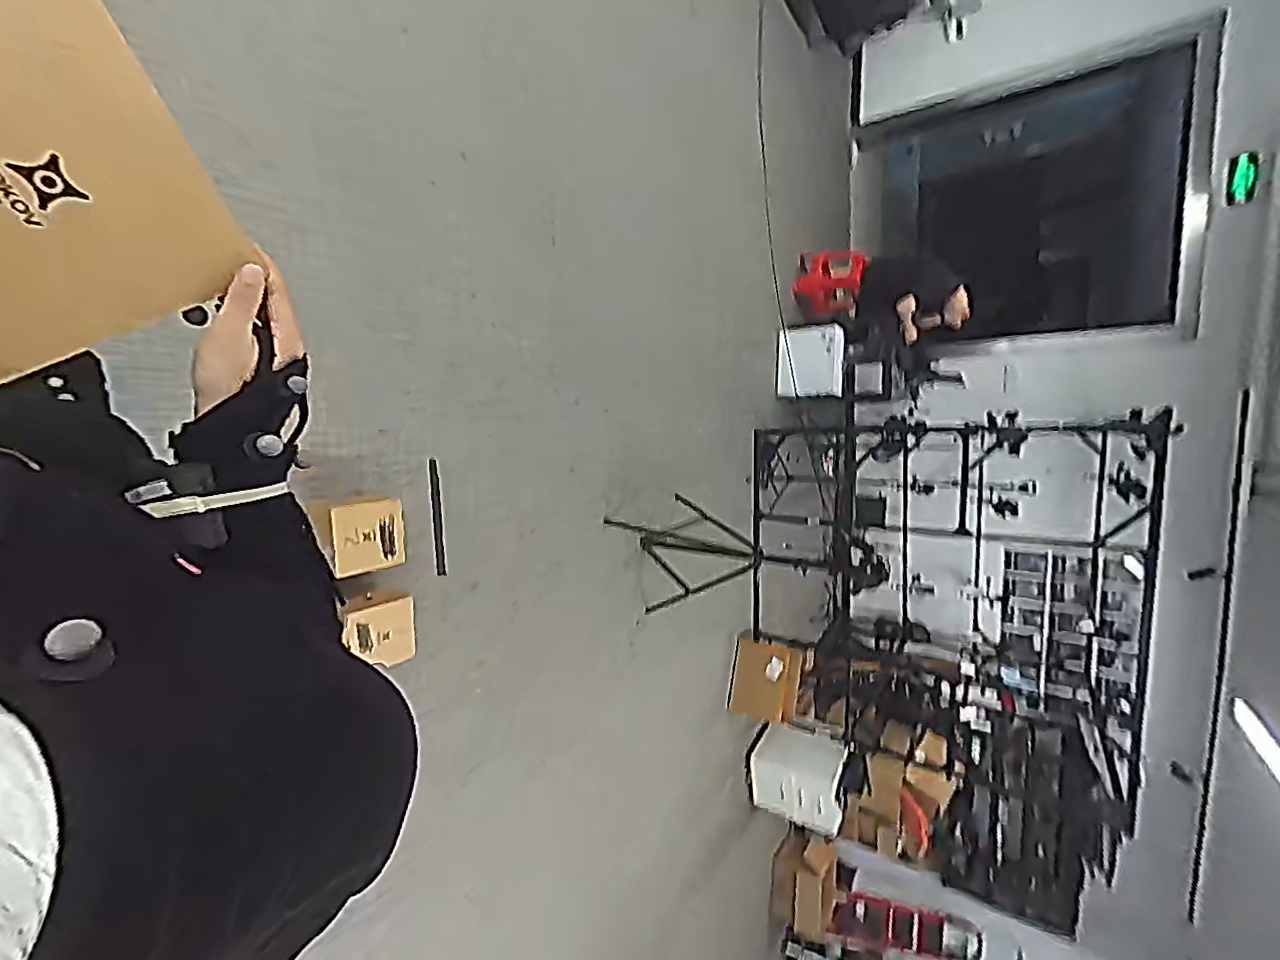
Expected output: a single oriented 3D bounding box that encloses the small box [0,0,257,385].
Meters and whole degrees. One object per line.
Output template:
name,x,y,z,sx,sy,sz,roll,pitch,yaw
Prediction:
small box,-0.396,-0.169,0.324,0.179,0.176,0.168,-50,140,-37
